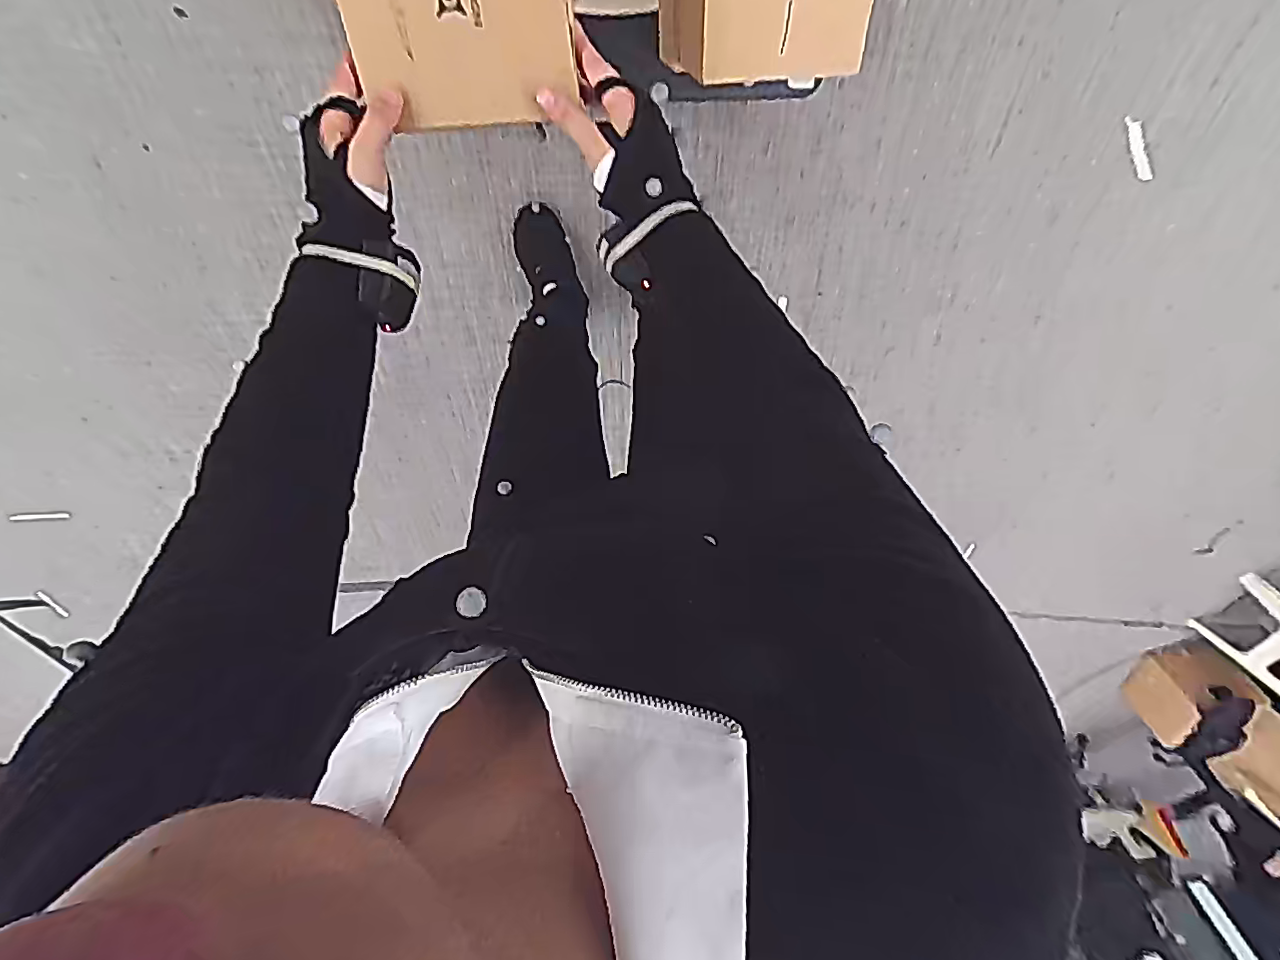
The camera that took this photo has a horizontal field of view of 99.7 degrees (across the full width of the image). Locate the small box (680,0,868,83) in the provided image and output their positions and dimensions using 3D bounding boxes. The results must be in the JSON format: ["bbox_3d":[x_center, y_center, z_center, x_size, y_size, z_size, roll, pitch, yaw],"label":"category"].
[{"bbox_3d":[0.134,-0.536,0.567,0.168,0.176,0.179,-4,133,-2],"label":"small box"}]

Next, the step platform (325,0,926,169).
[{"bbox_3d":[-0.015,-0.583,0.681,0.684,0.204,0.286,-4,132,-4],"label":"step platform"}]

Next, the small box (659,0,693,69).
[{"bbox_3d":[0.112,-0.643,0.690,0.168,0.176,0.179,-4,133,-2],"label":"small box"}]

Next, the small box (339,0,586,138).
[{"bbox_3d":[-0.144,-0.405,0.473,0.179,0.176,0.168,-6,123,-1],"label":"small box"}]
